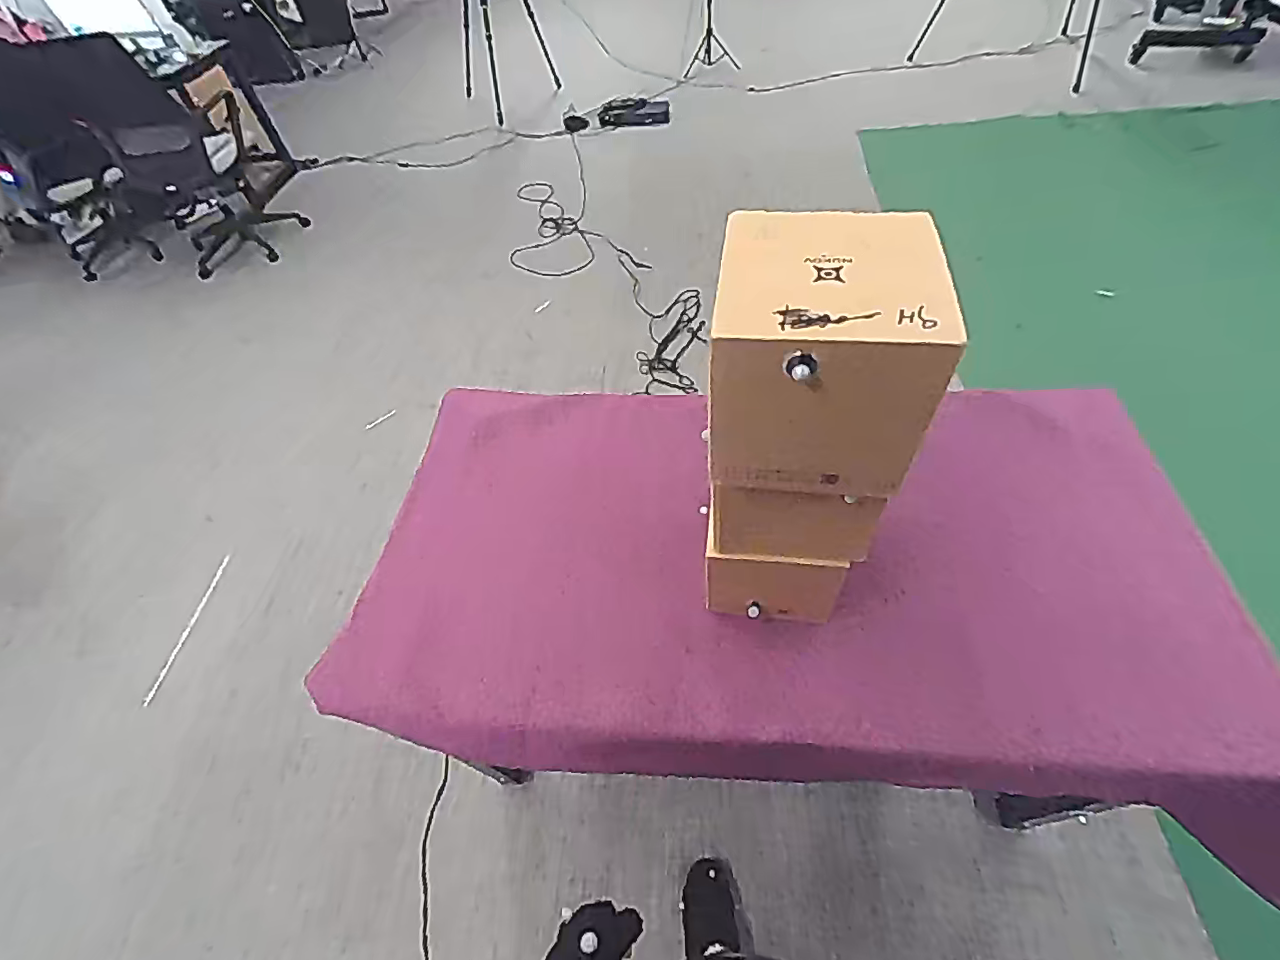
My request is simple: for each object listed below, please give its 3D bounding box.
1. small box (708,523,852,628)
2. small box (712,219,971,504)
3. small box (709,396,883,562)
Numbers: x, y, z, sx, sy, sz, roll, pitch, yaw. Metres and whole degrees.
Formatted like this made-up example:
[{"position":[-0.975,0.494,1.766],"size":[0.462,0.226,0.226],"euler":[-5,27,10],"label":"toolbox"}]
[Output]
[{"position":[0.182,0.080,0.736],"size":[0.168,0.176,0.179],"euler":[3,53,11],"label":"small box"},{"position":[0.152,-0.103,0.467],"size":[0.168,0.176,0.179],"euler":[4,52,11],"label":"small box"},{"position":[0.171,-0.020,0.609],"size":[0.179,0.176,0.168],"euler":[2,53,9],"label":"small box"}]
